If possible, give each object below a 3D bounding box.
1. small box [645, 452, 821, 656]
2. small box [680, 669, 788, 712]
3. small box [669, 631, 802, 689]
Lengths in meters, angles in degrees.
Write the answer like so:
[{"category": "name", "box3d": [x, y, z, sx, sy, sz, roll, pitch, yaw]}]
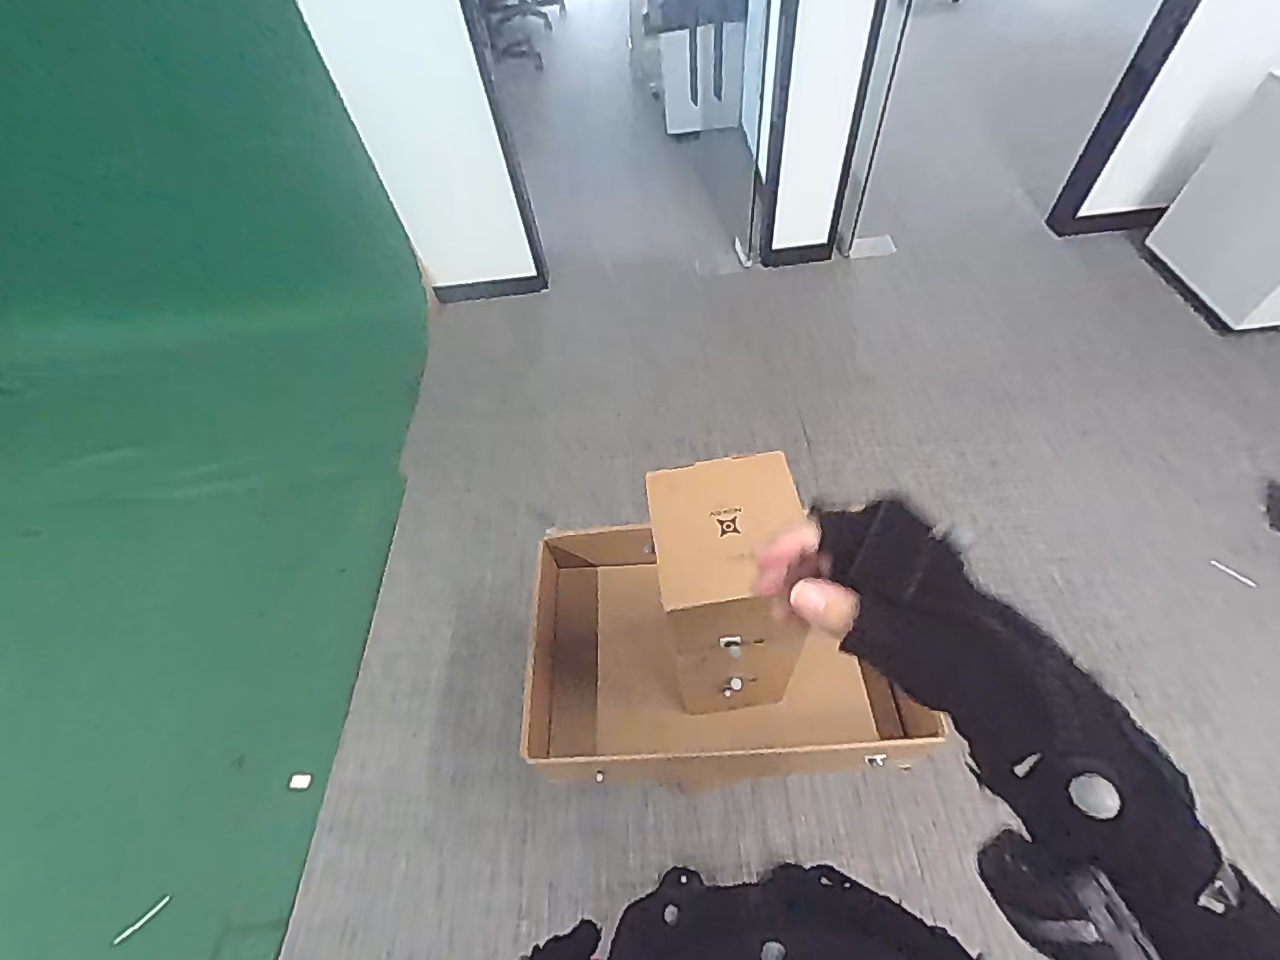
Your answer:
[{"category": "small box", "box3d": [0.103, 0.094, 0.656, 0.168, 0.176, 0.179, -10, 55, 3]}, {"category": "small box", "box3d": [0.144, 0.276, 0.923, 0.168, 0.176, 0.179, -10, 53, 3]}, {"category": "small box", "box3d": [0.122, 0.186, 0.788, 0.168, 0.176, 0.179, -9, 55, 2]}]
